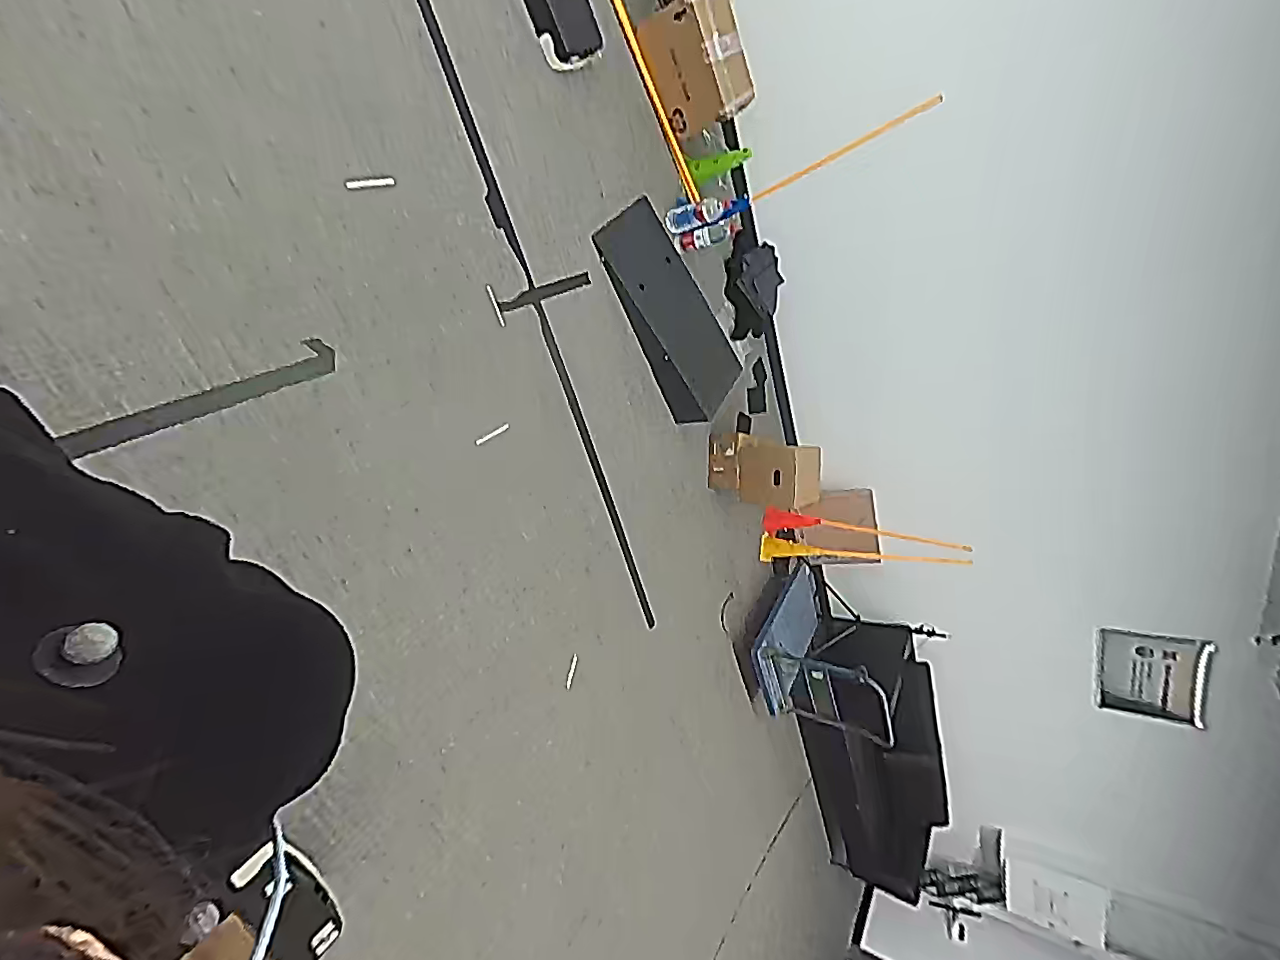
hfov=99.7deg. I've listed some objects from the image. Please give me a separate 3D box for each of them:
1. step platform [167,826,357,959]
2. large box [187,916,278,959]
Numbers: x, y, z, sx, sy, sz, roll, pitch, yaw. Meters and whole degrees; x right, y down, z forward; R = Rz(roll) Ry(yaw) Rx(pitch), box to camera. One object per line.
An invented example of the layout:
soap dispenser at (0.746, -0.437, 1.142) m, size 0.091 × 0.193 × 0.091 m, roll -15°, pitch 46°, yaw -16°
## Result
step platform at (-0.957, 1.099, 1.097) m, size 0.684 × 0.204 × 0.286 m, roll -34°, pitch 116°, yaw -48°
large box at (-0.782, 1.113, 0.934) m, size 0.408 × 0.320 × 0.320 m, roll -37°, pitch 119°, yaw -47°
